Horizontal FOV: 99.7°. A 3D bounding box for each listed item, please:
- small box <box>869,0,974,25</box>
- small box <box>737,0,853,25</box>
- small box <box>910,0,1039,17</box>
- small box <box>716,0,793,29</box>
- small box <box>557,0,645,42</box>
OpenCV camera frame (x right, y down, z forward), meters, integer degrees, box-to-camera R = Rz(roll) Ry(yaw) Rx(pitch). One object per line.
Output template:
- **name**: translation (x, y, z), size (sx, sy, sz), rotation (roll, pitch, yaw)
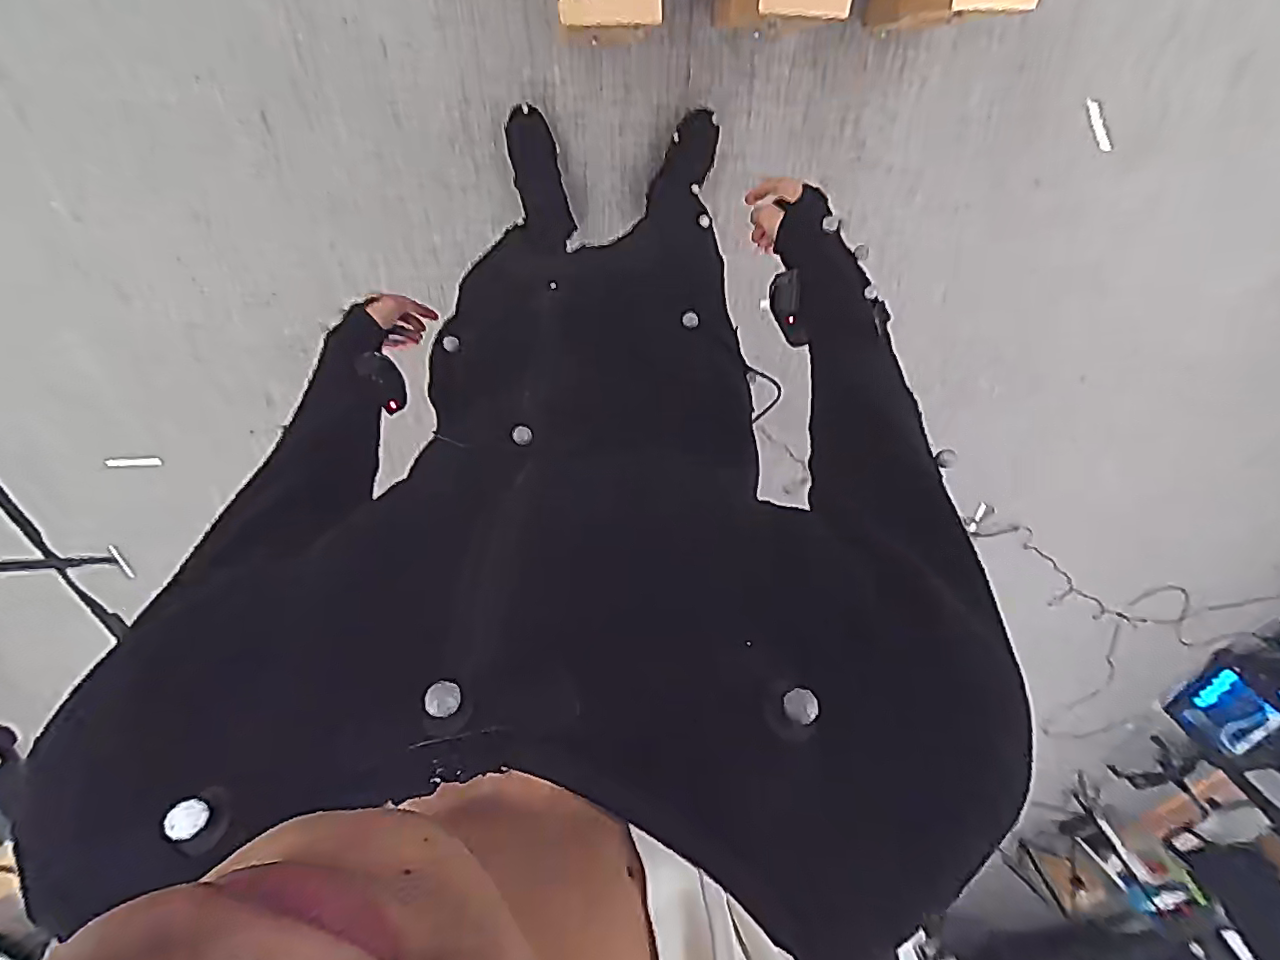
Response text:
- **small box**: translation (0.592, -1.046, 1.100), size (0.168, 0.176, 0.179), rotation (-6, 125, -5)
- **small box**: translation (0.275, -0.918, 0.939), size (0.168, 0.176, 0.179), rotation (-2, 125, -6)
- **small box**: translation (0.615, -0.952, 0.969), size (0.168, 0.176, 0.179), rotation (-5, 125, -5)
- **small box**: translation (0.254, -1.018, 1.067), size (0.168, 0.176, 0.179), rotation (-3, 126, -7)
- **small box**: translation (-0.081, -0.975, 1.050), size (0.168, 0.176, 0.179), rotation (-3, 125, -5)
